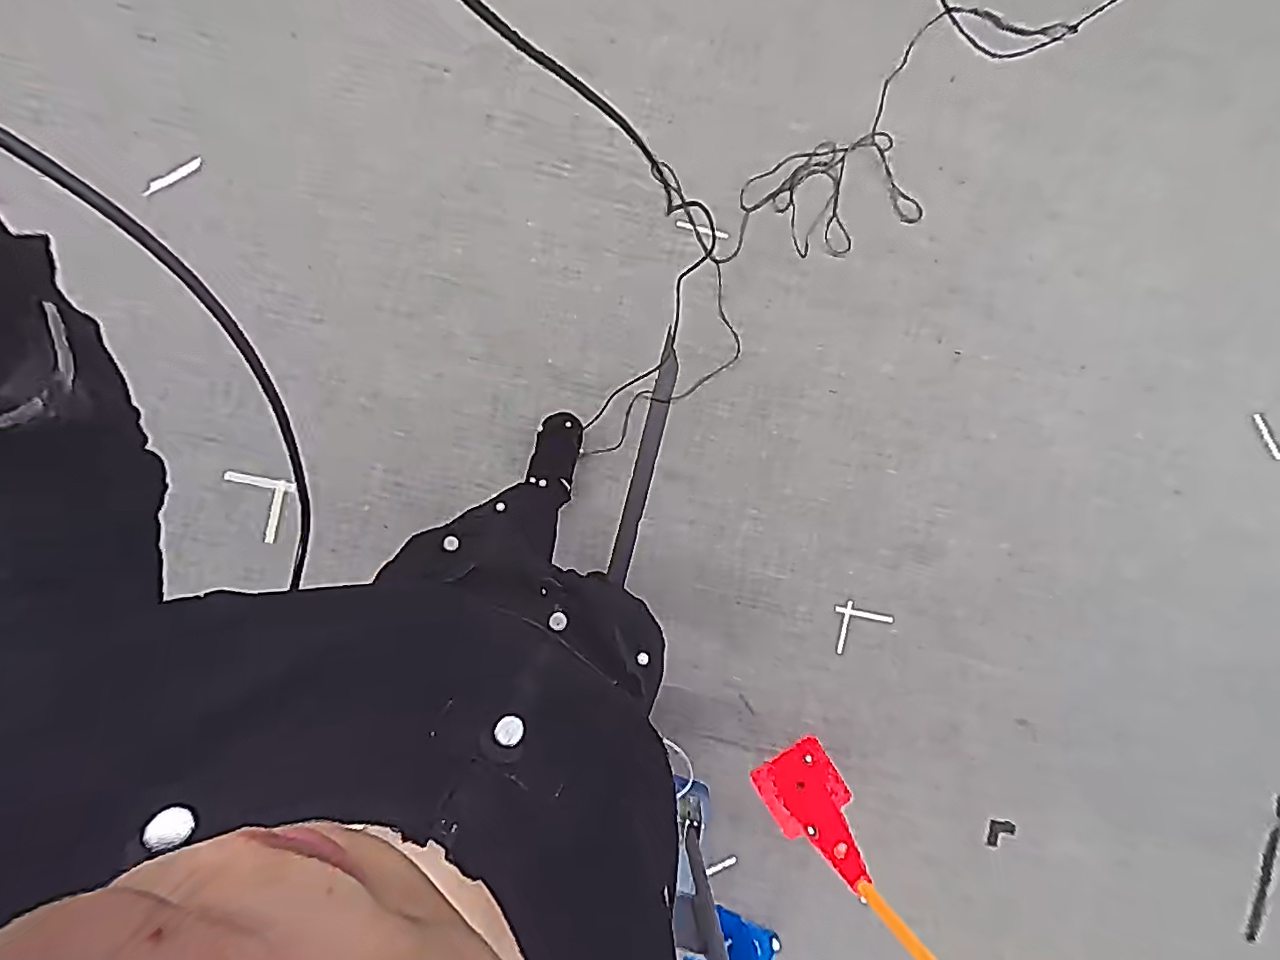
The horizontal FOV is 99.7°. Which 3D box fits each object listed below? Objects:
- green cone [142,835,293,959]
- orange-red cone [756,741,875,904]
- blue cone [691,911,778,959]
[{"bbox_3d":[-0.922,0.942,1.115,0.200,0.368,0.202,0,87,-3],"label":"green cone"},{"bbox_3d":[0.414,0.772,1.175,0.199,0.360,0.198,-31,89,-1],"label":"orange-red cone"},{"bbox_3d":[0.234,1.178,1.171,0.193,0.380,0.192,29,87,-1],"label":"blue cone"}]
